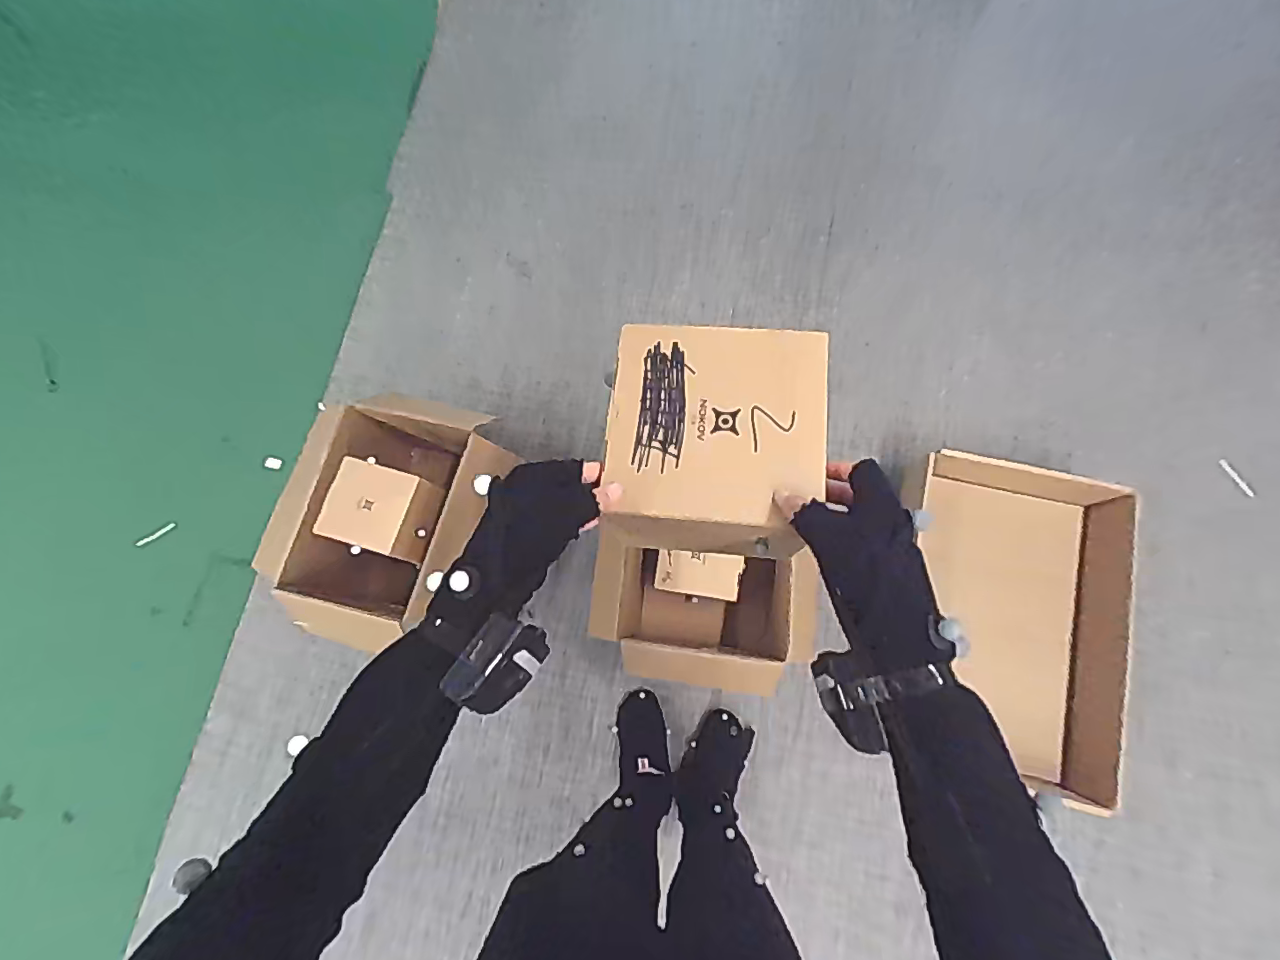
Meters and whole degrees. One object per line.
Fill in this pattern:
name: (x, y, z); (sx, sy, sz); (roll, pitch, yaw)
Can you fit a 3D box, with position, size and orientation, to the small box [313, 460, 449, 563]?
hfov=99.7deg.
small box: (-0.538, 0.075, 1.152); (0.179, 0.176, 0.168); (15, 77, 9)
